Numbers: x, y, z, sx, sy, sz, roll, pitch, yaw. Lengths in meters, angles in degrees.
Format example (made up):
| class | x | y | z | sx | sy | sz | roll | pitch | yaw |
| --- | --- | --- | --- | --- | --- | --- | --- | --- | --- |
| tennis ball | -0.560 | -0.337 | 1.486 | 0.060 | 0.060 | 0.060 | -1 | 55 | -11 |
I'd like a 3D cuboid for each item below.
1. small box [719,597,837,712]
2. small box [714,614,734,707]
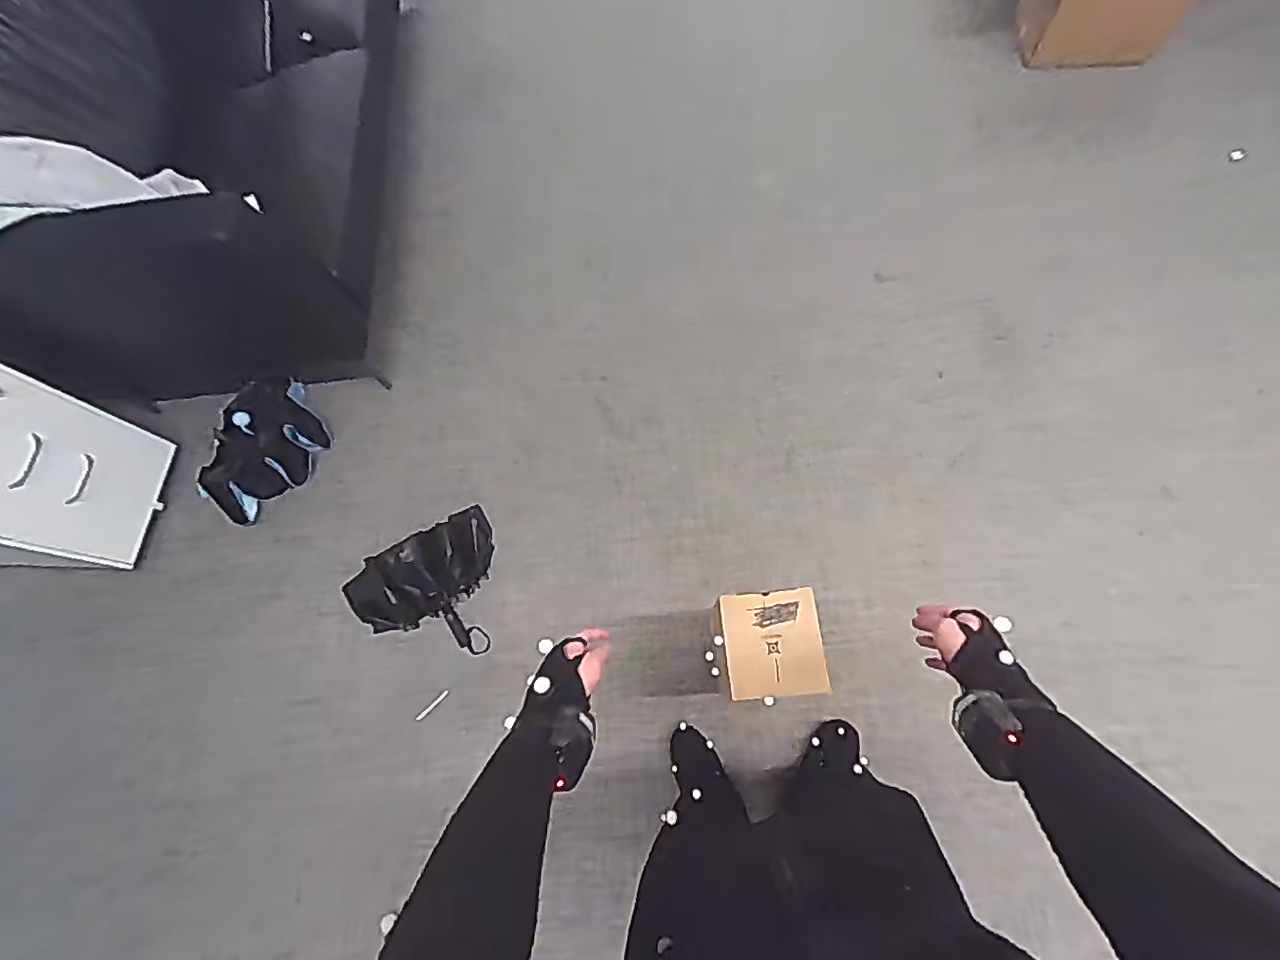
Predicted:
| class | x | y | z | sx | sy | sz | roll | pitch | yaw |
| --- | --- | --- | --- | --- | --- | --- | --- | --- | --- |
| small box | 0.236 | 0.316 | 0.975 | 0.168 | 0.176 | 0.179 | -6 | 70 | 3 |
| small box | 0.248 | 0.373 | 1.130 | 0.168 | 0.176 | 0.179 | -6 | 67 | 3 |
